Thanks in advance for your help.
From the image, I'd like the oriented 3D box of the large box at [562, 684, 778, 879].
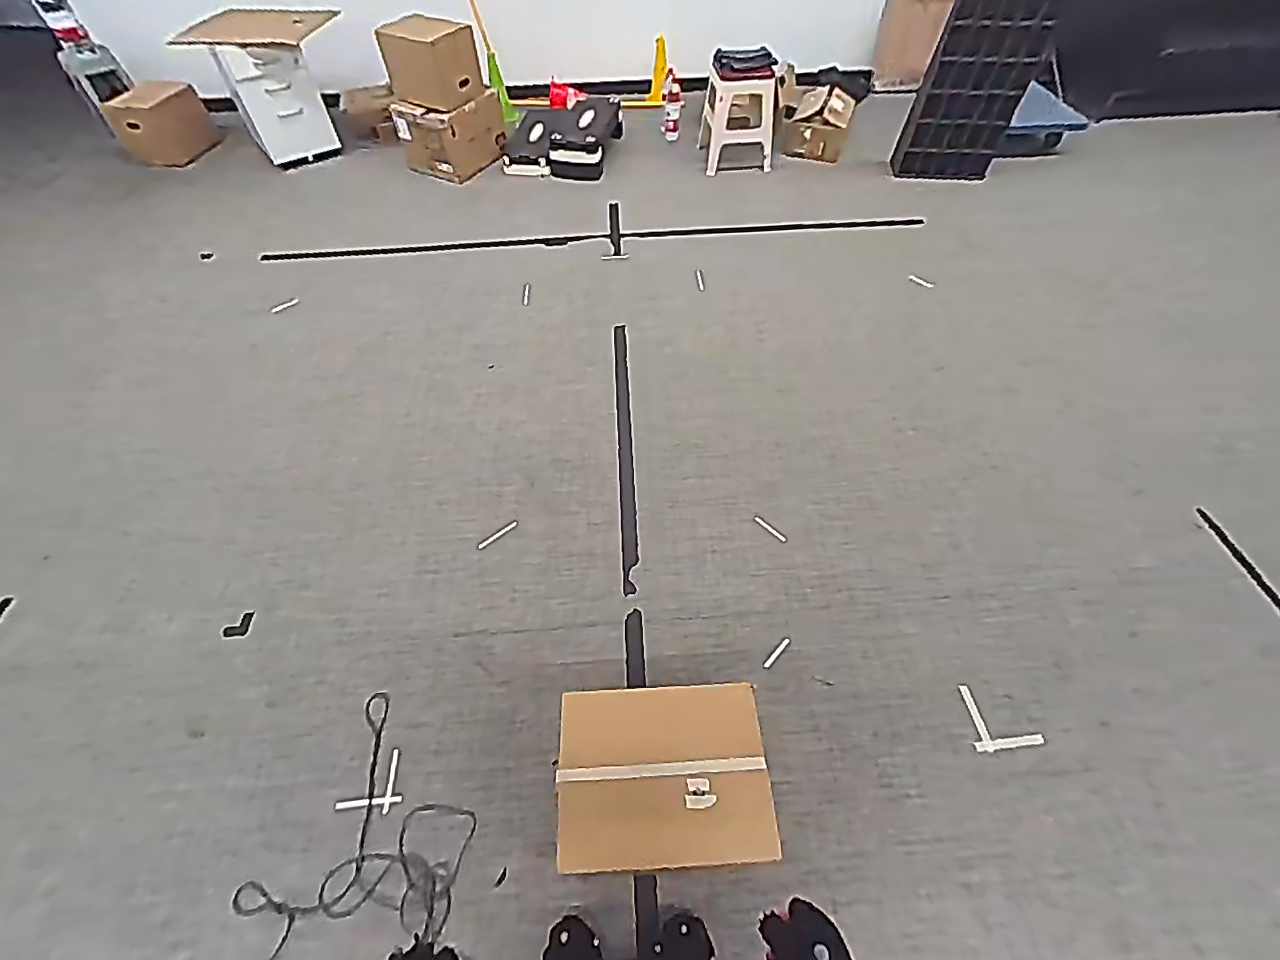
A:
[{"bbox_3d":[0.046,0.662,1.181,0.408,0.320,0.320,-2,53,-2],"label":"large box"}]
